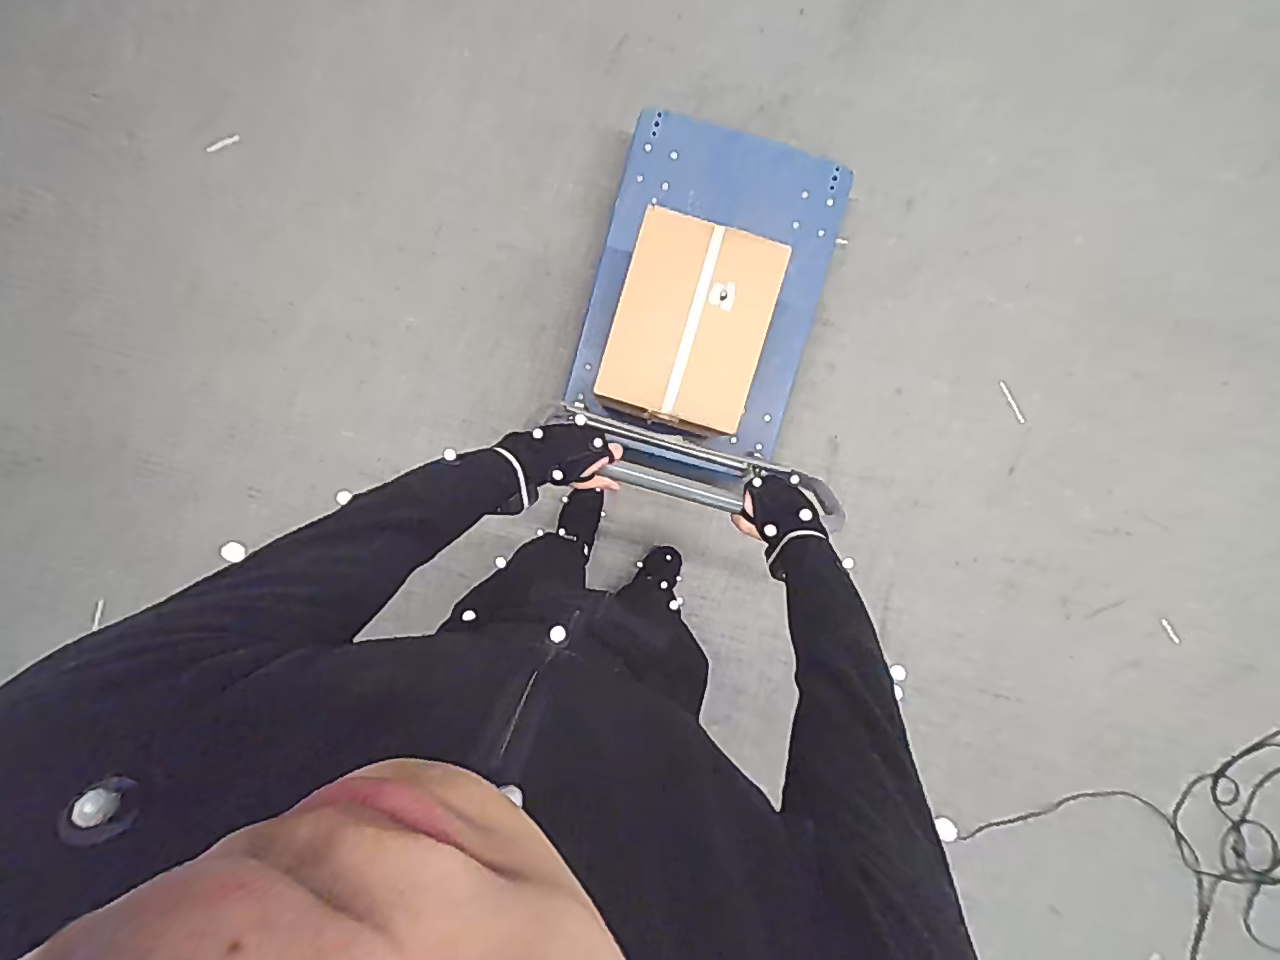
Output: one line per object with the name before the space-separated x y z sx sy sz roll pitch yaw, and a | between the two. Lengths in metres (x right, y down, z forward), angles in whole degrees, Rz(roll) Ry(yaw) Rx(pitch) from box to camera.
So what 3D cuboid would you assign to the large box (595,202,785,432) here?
large box | 0.101 -0.346 1.265 0.320 0.320 0.408 16 92 -3
